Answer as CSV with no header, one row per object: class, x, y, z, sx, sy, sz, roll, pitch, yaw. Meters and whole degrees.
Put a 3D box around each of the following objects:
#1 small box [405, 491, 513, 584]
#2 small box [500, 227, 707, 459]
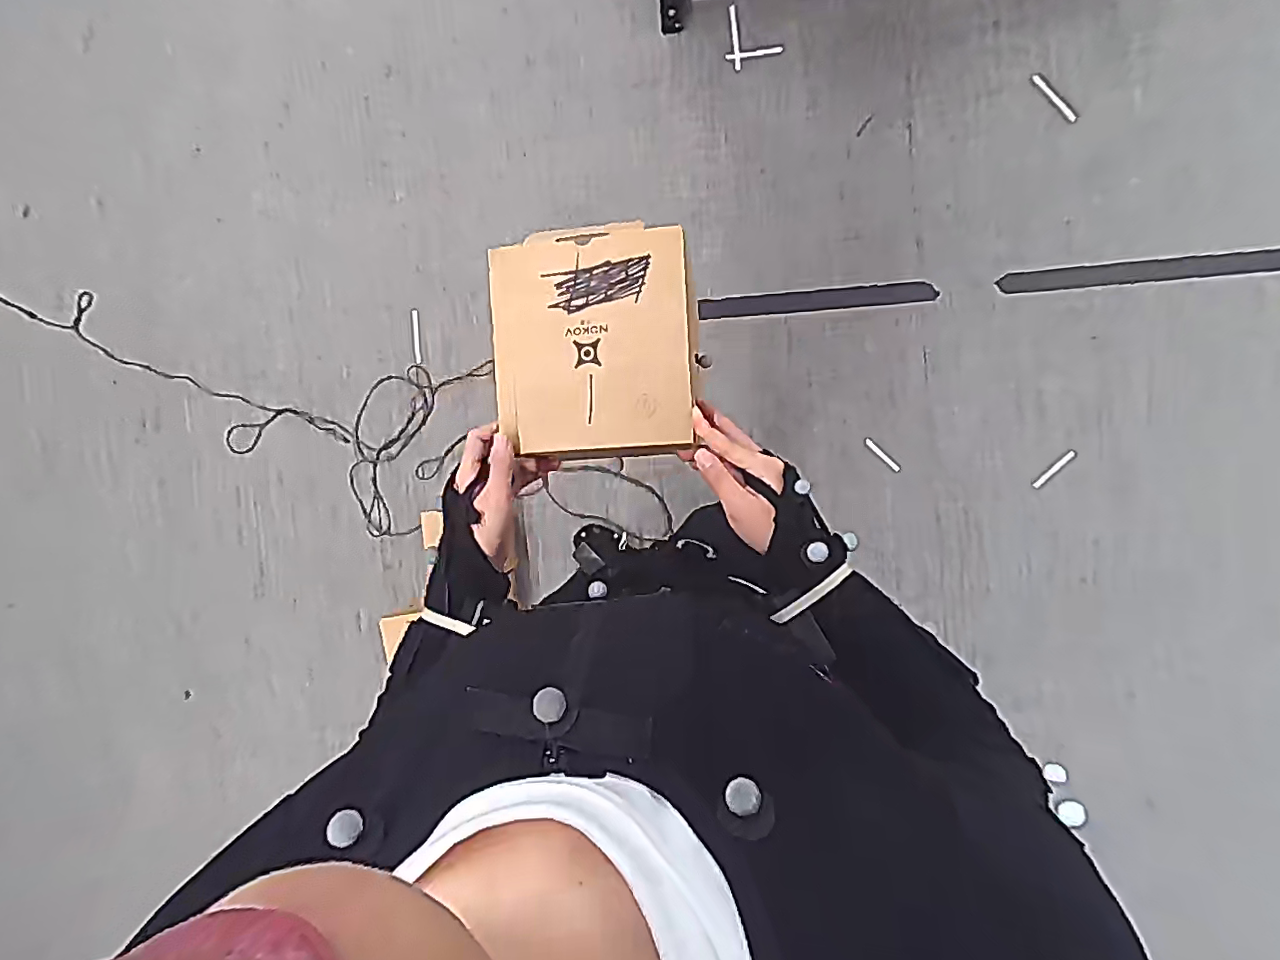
small box,-0.416,0.136,1.263,0.179,0.176,0.168,22,80,-6
small box,-0.023,-0.113,0.520,0.168,0.176,0.179,-2,90,10
